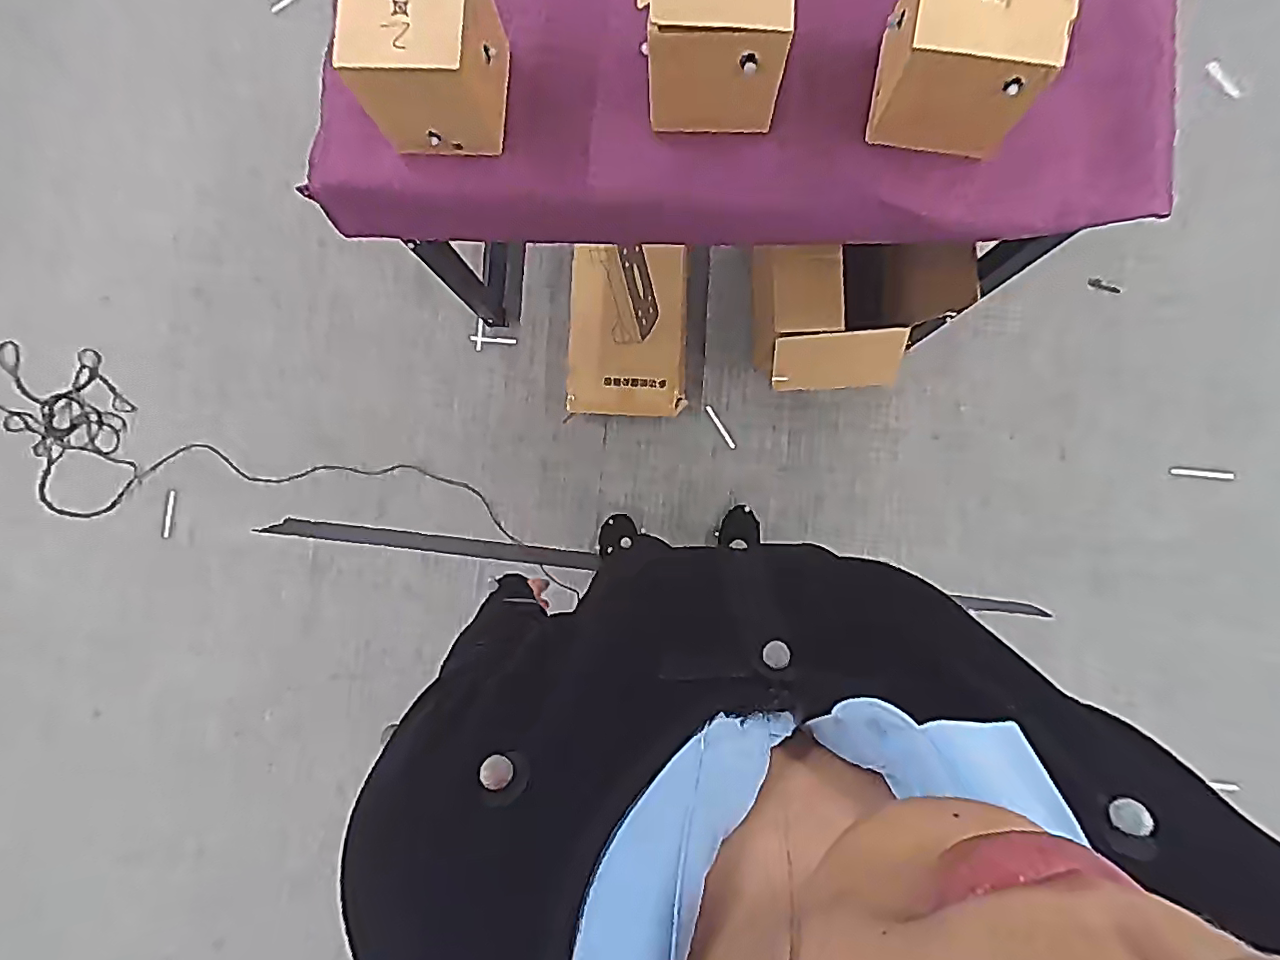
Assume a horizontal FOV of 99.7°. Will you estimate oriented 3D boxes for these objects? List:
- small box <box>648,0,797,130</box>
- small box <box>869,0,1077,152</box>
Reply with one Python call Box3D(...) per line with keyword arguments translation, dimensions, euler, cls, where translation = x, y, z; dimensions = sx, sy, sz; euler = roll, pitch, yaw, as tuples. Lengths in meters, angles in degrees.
Box3D(translation=(0.105, -0.603, 0.723), dimensions=(0.179, 0.176, 0.168), euler=(3, 85, 4), cls="small box")
Box3D(translation=(0.420, -0.562, 0.703), dimensions=(0.179, 0.176, 0.168), euler=(10, 88, 4), cls="small box")
